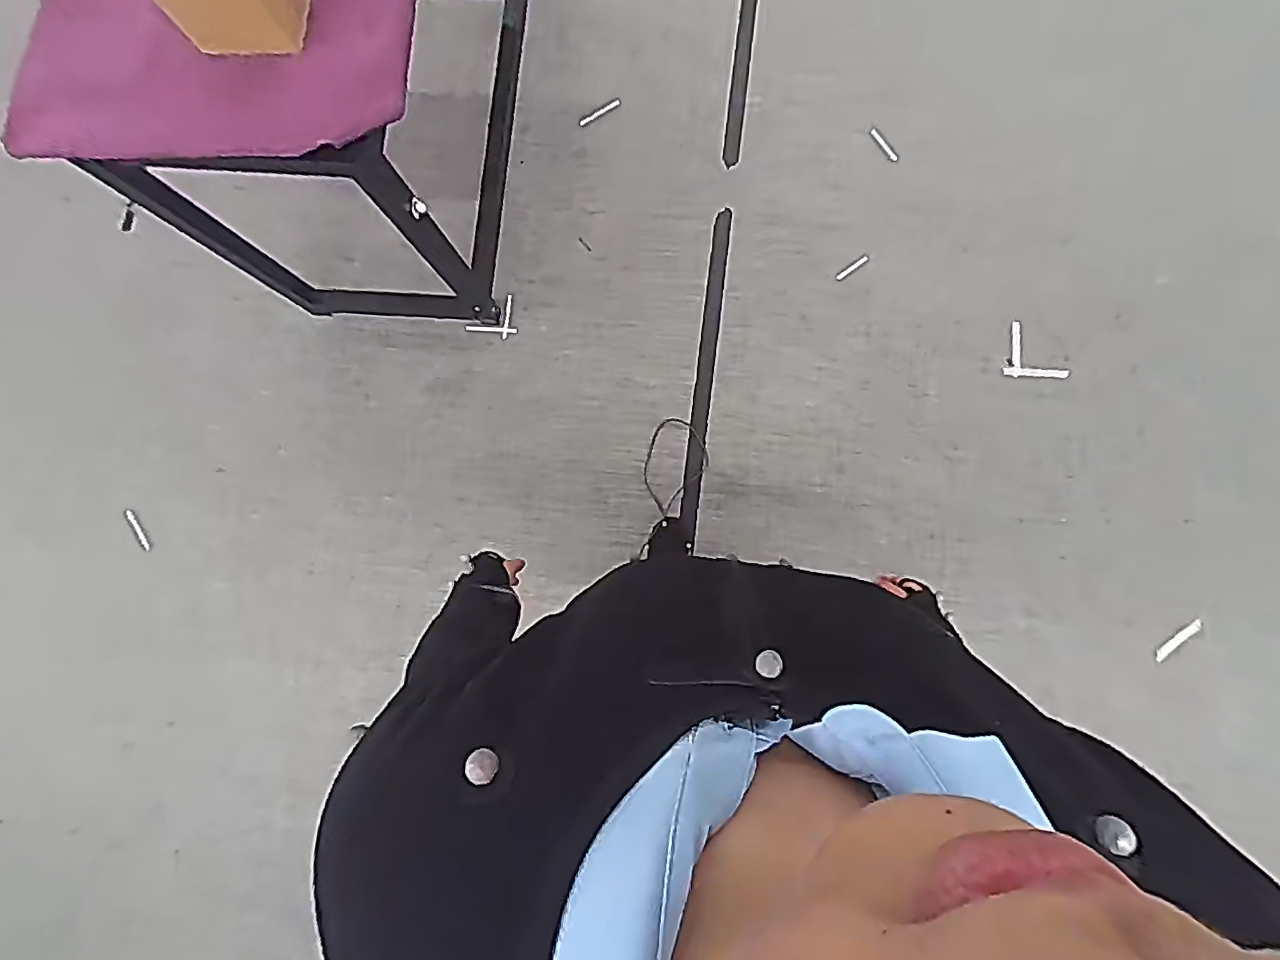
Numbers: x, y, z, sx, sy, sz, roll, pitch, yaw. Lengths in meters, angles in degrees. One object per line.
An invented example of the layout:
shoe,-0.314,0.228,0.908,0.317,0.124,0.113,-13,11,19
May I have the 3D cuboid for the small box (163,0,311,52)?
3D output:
small box,-0.642,-0.801,0.828,0.179,0.176,0.168,3,83,3
